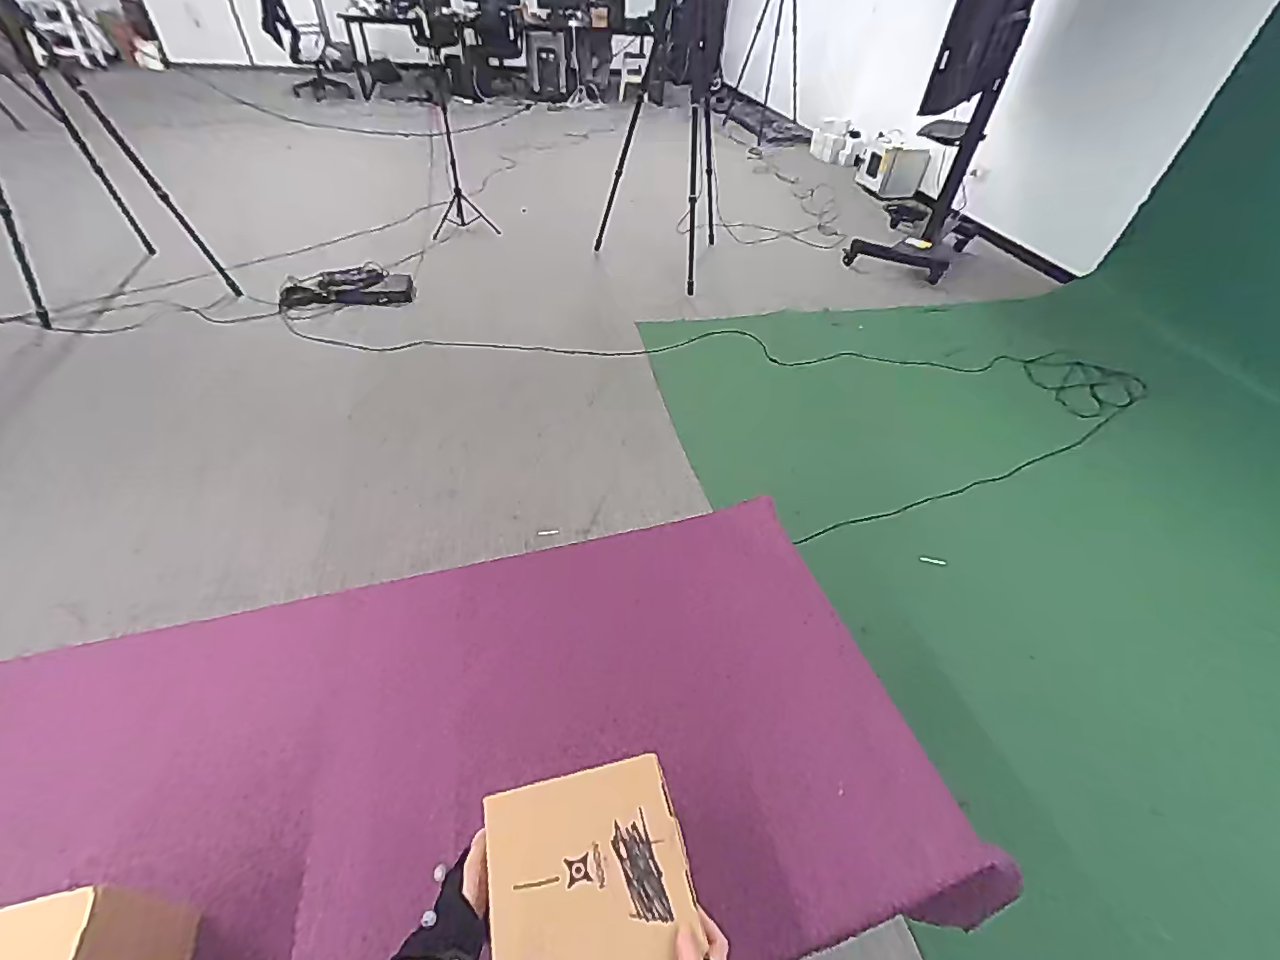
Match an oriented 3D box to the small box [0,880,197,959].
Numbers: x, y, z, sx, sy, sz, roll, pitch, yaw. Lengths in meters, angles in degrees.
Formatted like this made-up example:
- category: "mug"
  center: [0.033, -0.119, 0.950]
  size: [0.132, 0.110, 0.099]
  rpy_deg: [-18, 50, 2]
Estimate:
- category: "small box"
  center: [-0.524, 0.464, 0.443]
  size: [0.179, 0.176, 0.168]
  rpy_deg: [-8, 46, -12]
